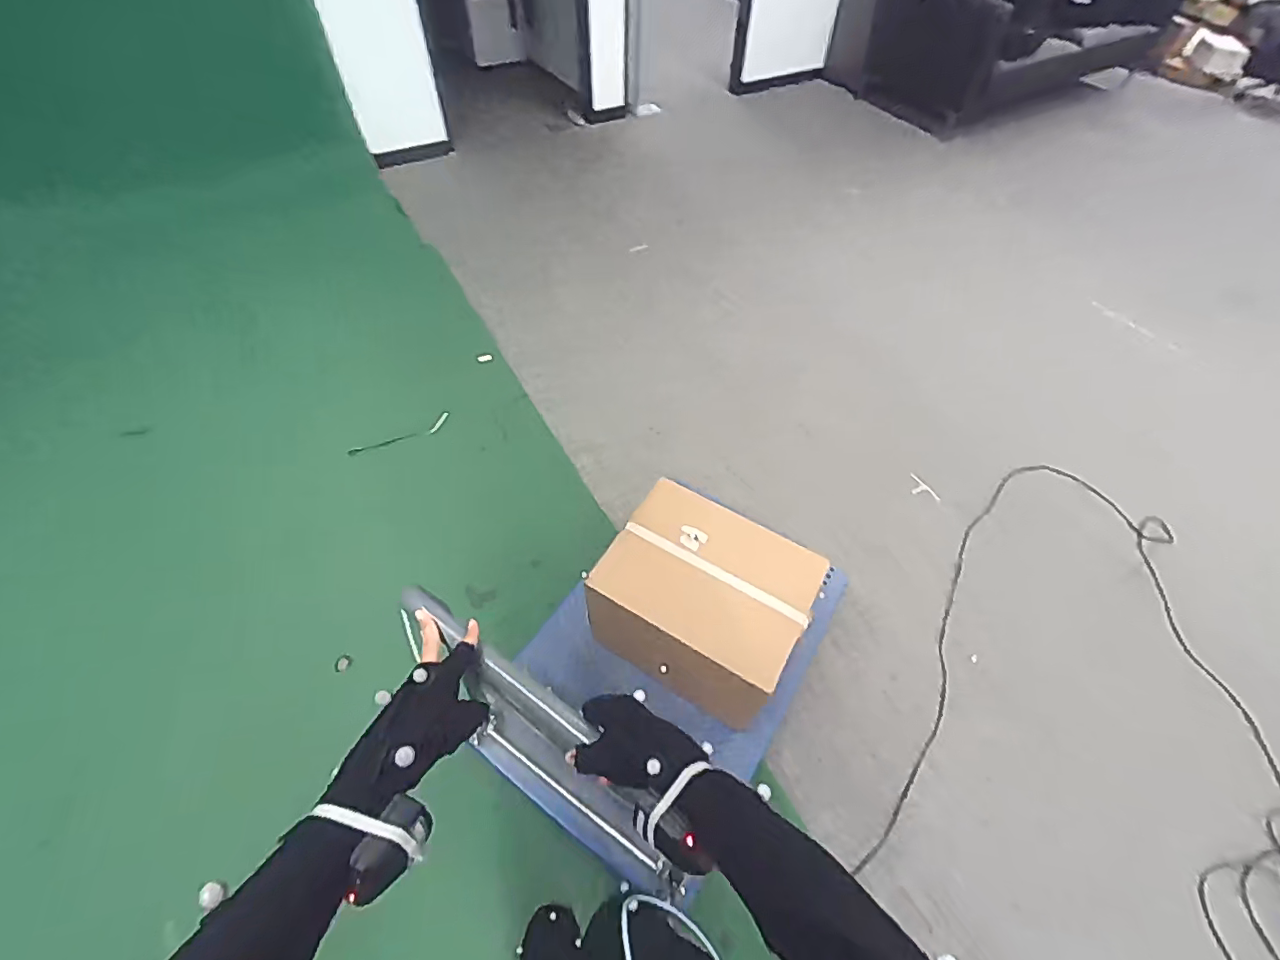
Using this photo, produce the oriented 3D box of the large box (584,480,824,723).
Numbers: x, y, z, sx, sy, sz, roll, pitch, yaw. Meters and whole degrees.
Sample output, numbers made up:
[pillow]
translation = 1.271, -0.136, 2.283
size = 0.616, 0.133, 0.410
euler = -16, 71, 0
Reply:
[large box]
translation = 0.134, 0.273, 1.210
size = 0.408, 0.320, 0.320
euler = 27, 57, 18
